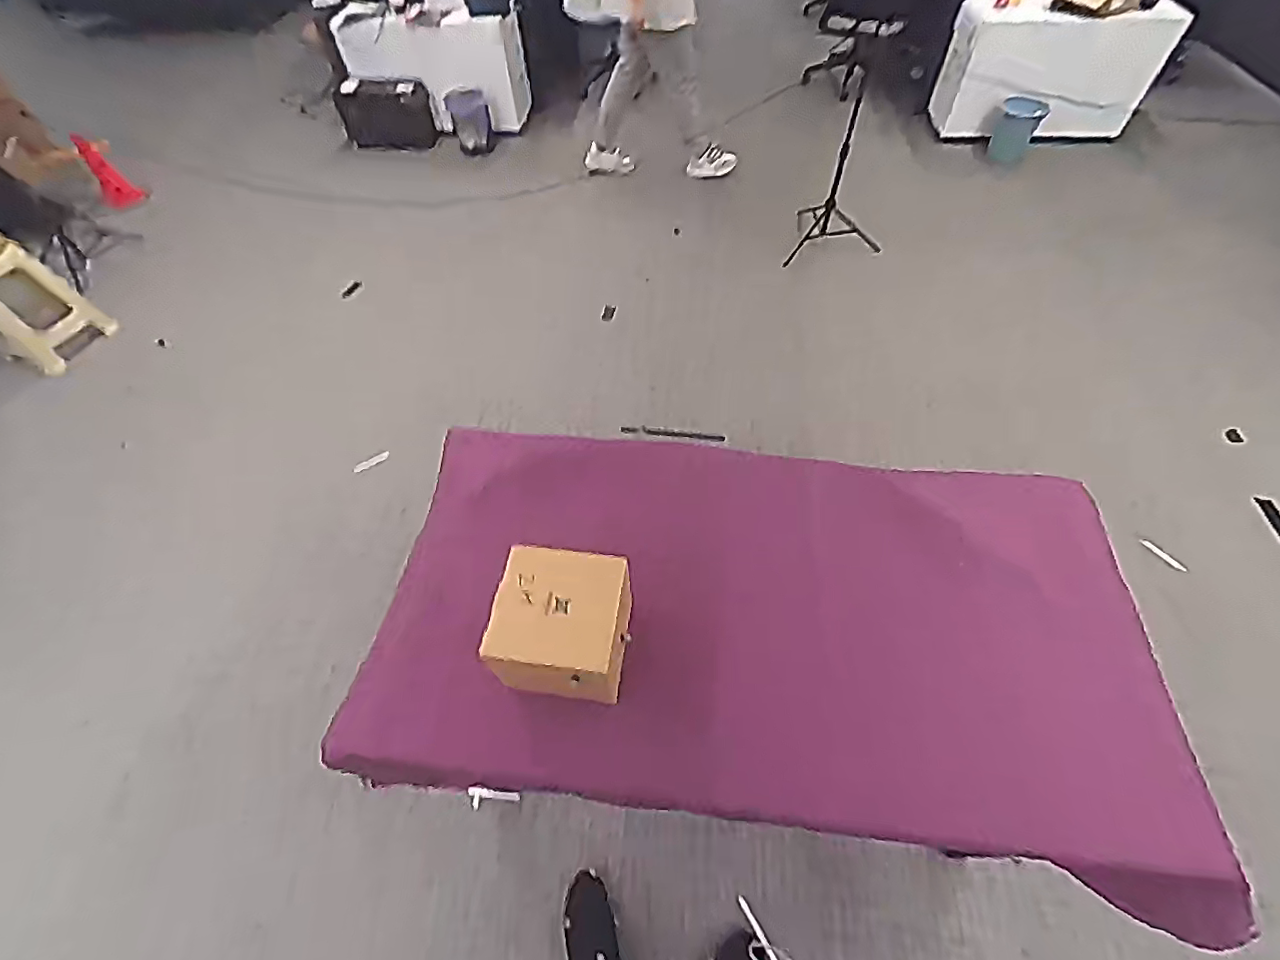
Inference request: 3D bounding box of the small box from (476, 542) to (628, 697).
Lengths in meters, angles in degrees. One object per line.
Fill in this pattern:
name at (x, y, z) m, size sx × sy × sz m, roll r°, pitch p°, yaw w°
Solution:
small box at (-0.116, 0.213, 0.806) m, size 0.179 × 0.176 × 0.168 m, roll 6°, pitch 55°, yaw 6°
